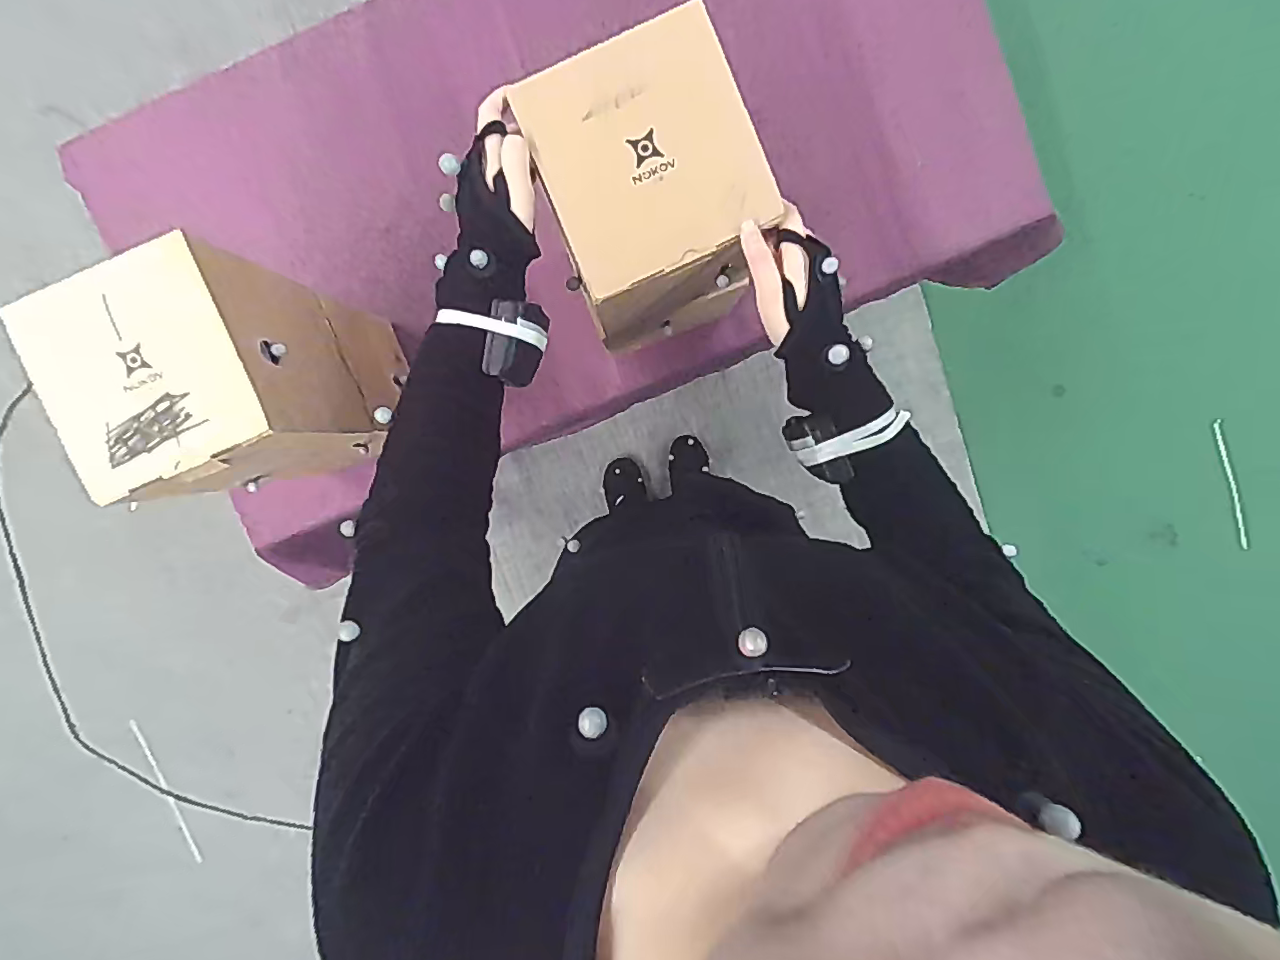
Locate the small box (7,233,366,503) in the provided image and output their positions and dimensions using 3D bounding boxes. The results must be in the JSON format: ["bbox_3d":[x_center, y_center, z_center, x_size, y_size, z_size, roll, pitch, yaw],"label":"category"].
[{"bbox_3d":[-0.402,-0.095,0.517,0.168,0.176,0.179,-22,93,2],"label":"small box"}]

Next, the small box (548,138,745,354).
[{"bbox_3d":[0.009,-0.266,0.661,0.179,0.176,0.168,-20,95,2],"label":"small box"}]

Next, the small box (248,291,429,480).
[{"bbox_3d":[-0.402,-0.108,0.681,0.179,0.176,0.168,-22,95,1],"label":"small box"}]
